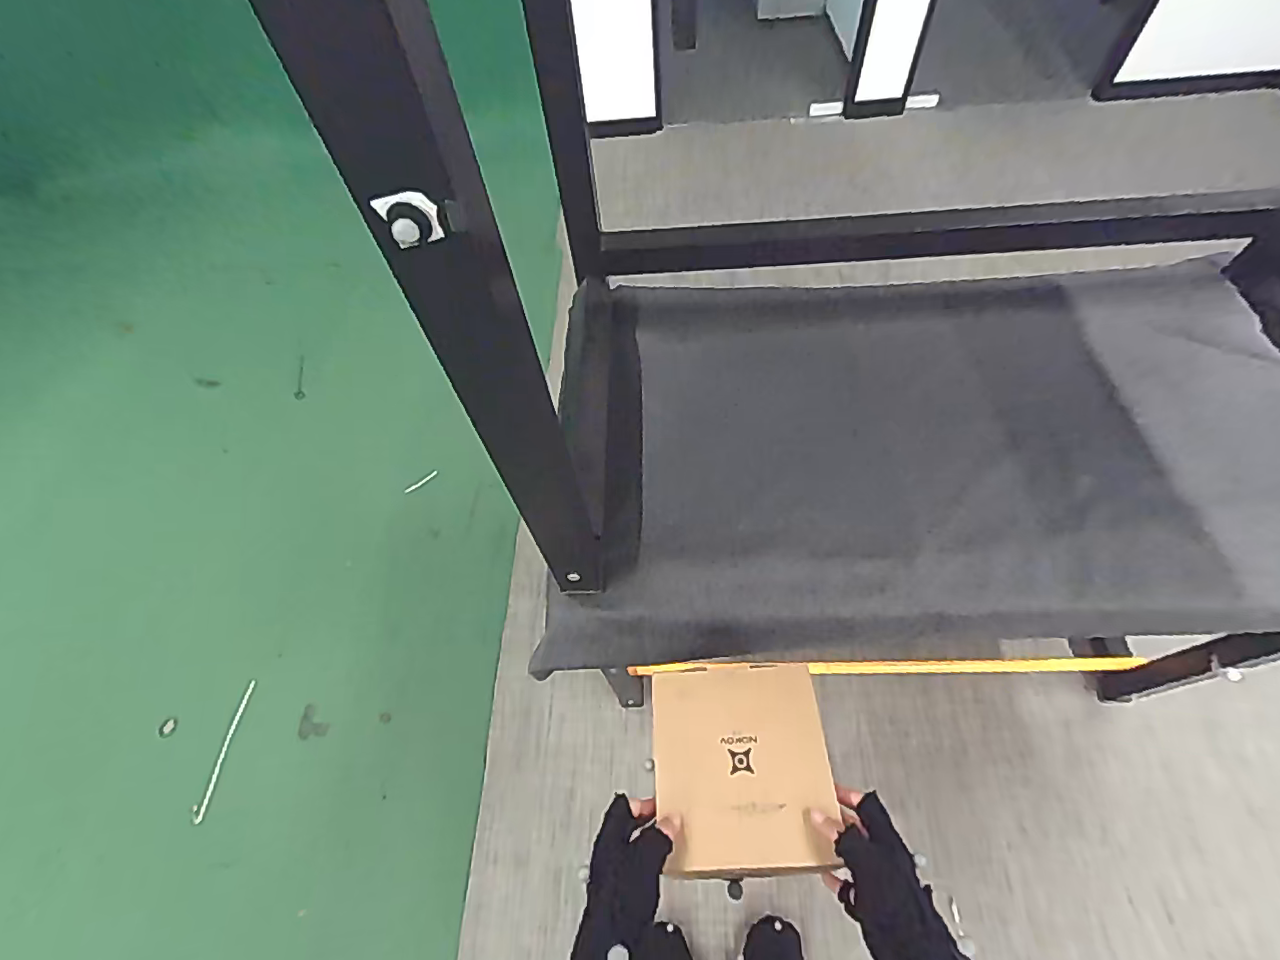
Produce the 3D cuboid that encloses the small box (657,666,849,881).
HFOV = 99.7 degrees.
[{"bbox_3d":[0.107,0.321,0.587,0.168,0.176,0.179,-5,51,4],"label":"small box"}]
